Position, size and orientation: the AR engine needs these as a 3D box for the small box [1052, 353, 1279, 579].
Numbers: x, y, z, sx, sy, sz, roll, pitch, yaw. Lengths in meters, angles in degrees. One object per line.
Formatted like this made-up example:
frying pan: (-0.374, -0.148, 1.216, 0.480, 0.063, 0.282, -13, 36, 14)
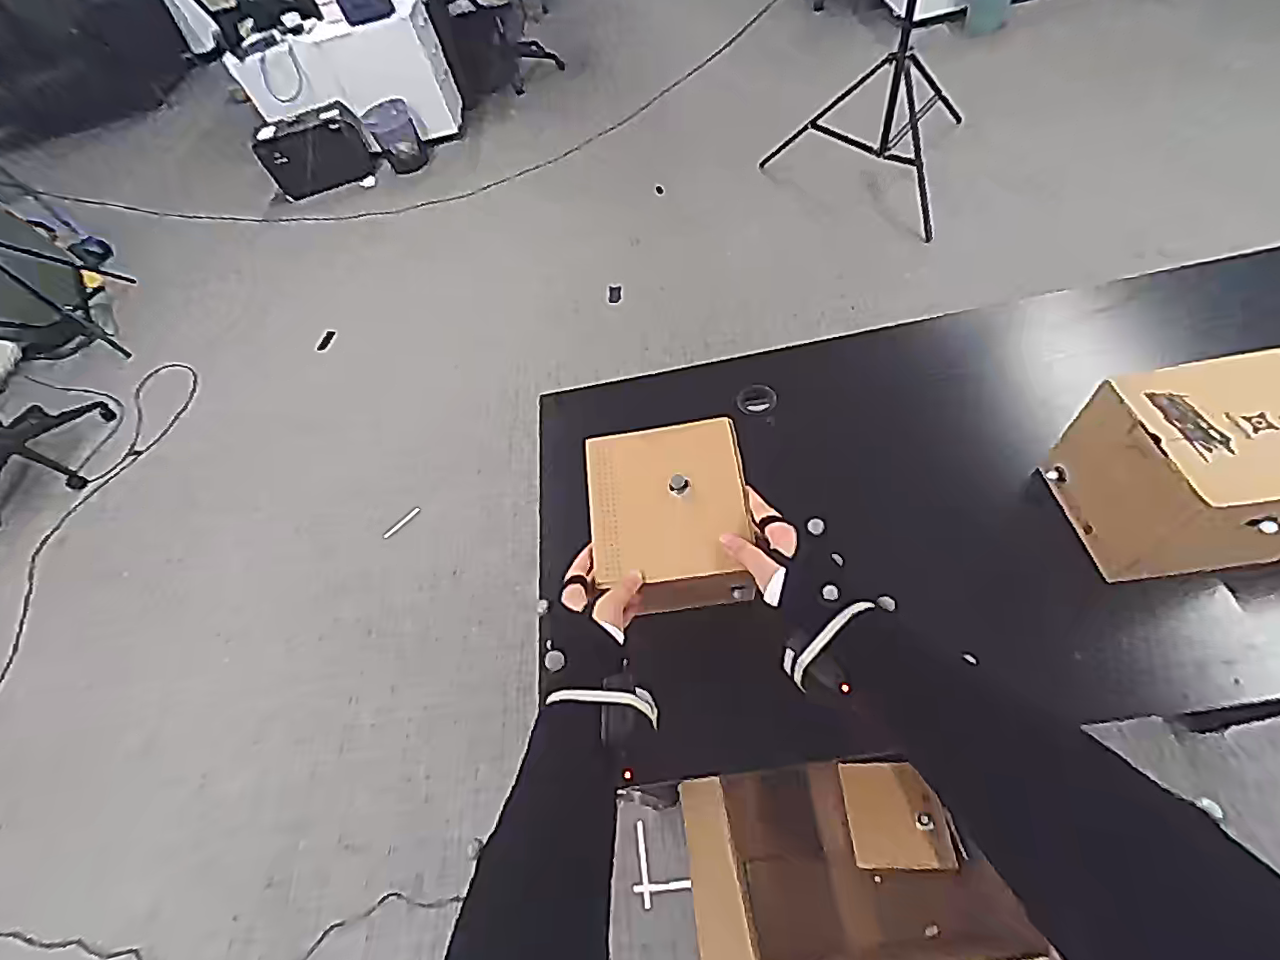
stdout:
small box: (0.589, -0.006, 0.579, 0.179, 0.176, 0.168, -9, 56, 5)
